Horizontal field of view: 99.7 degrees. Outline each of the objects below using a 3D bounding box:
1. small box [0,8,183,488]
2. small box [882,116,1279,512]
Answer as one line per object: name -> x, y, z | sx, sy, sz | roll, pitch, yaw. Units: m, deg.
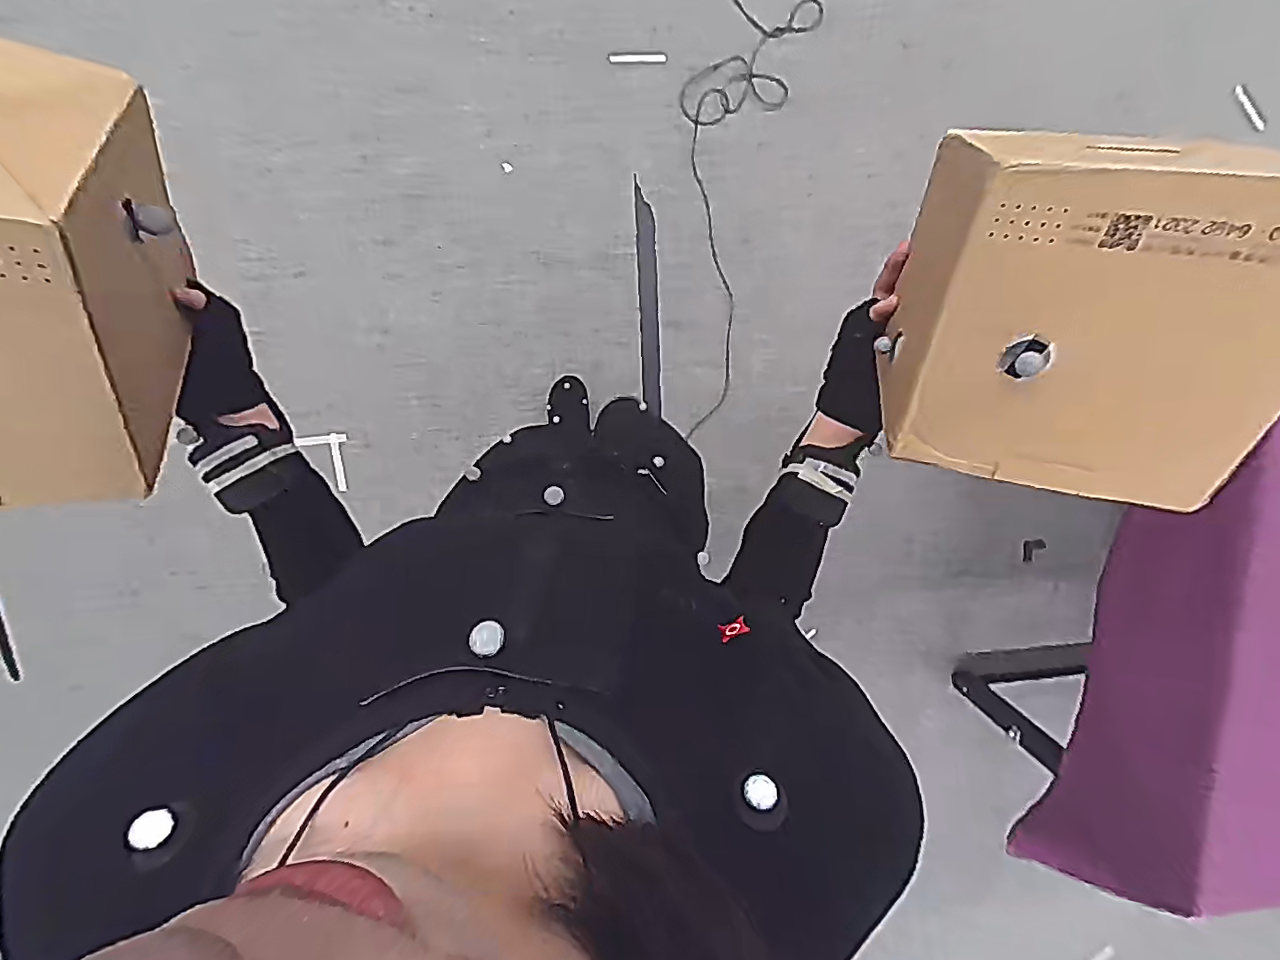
small box -> -0.343, -0.114, 0.250 | 0.168, 0.179, 0.176 | 0, 138, -30
small box -> 0.259, -0.111, 0.323 | 0.168, 0.179, 0.176 | 13, 129, 12
